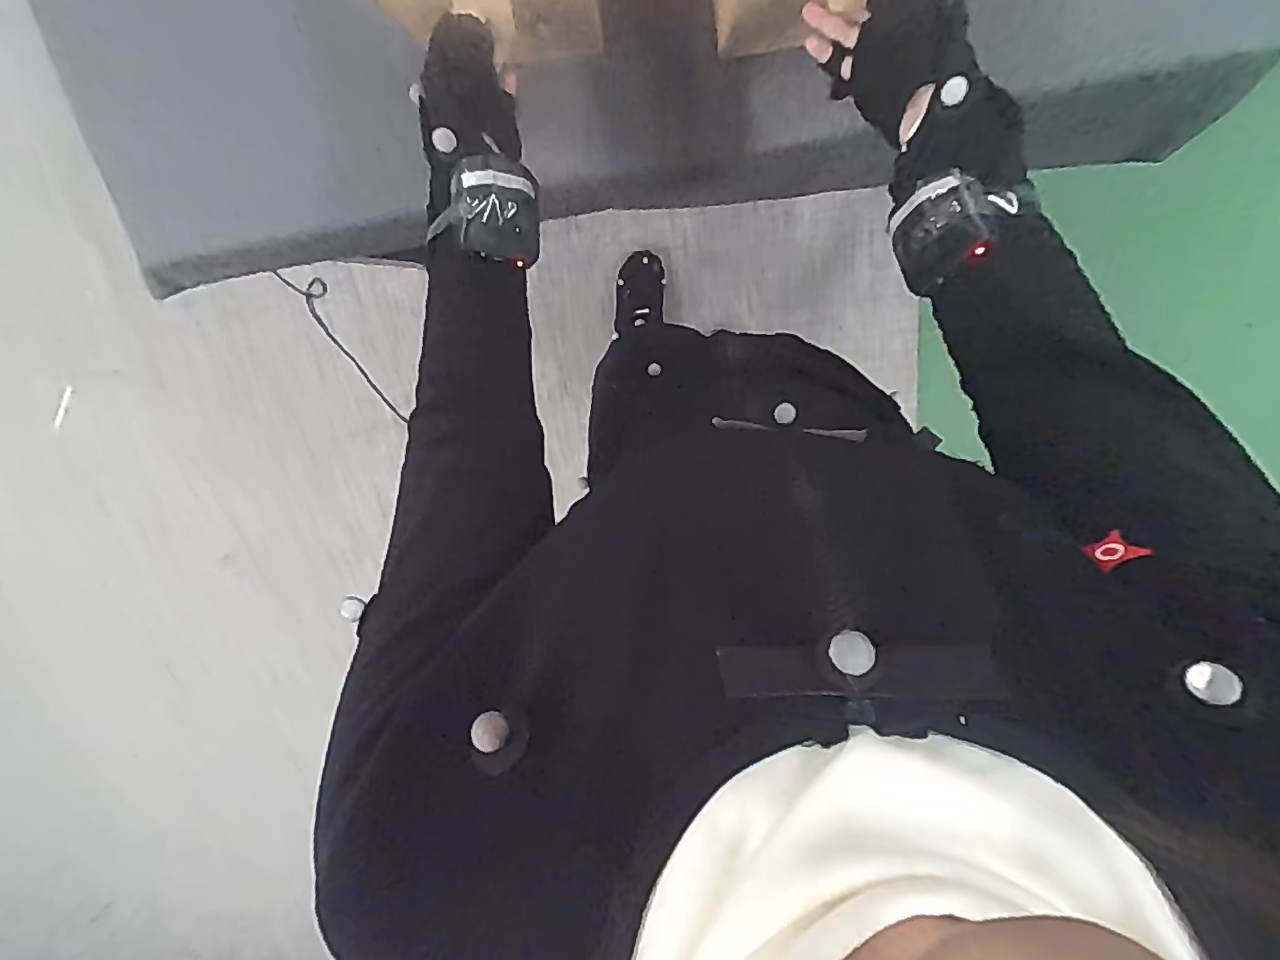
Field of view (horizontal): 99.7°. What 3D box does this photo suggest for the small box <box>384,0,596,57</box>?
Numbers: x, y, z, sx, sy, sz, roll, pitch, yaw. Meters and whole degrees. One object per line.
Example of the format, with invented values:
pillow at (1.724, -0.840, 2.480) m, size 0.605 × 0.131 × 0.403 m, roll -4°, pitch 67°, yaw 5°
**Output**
small box at (-0.130, -0.482, 0.444) m, size 0.168 × 0.176 × 0.179 m, roll -5°, pitch 108°, yaw 1°
